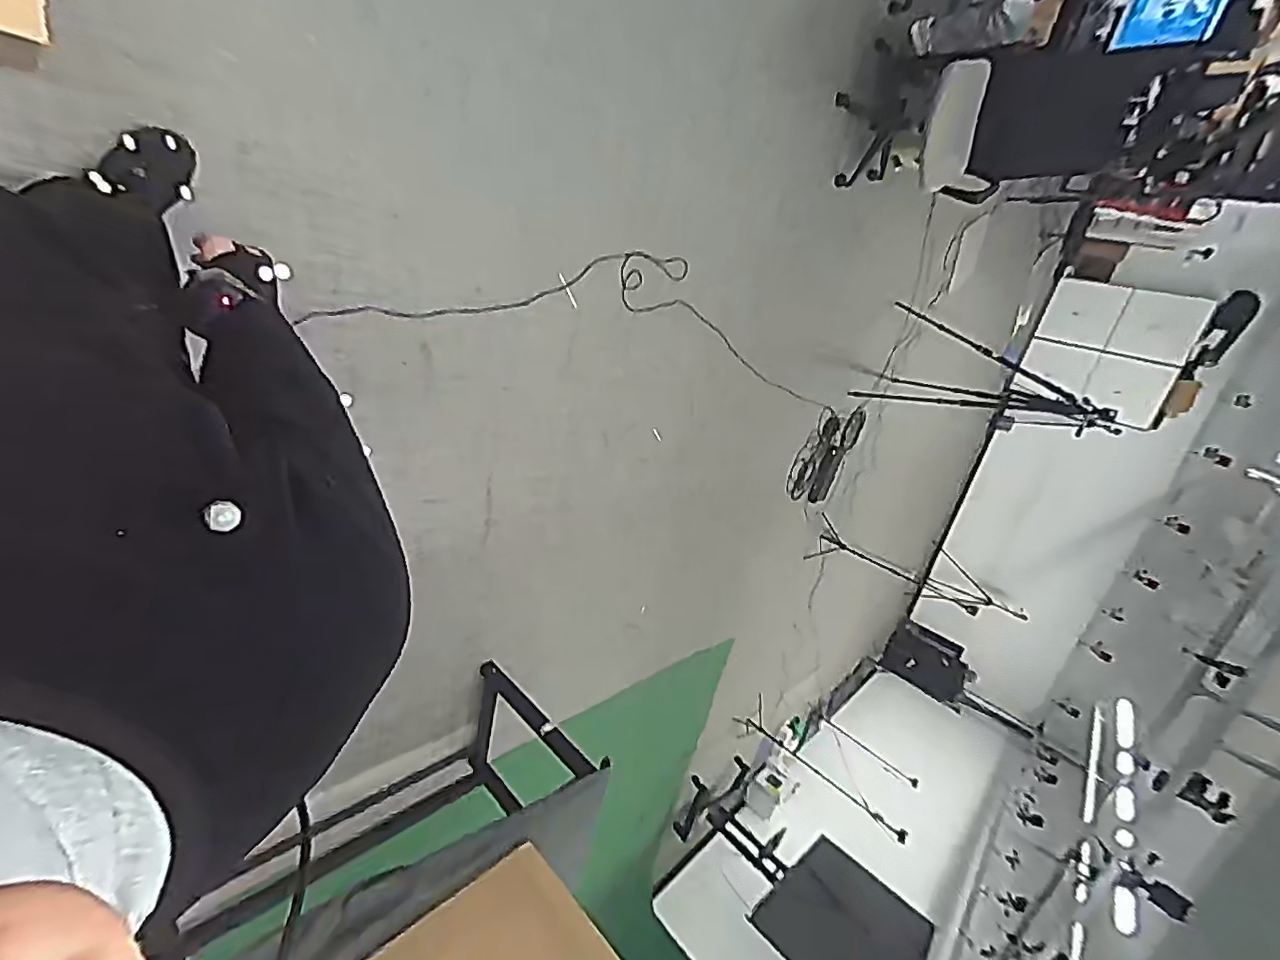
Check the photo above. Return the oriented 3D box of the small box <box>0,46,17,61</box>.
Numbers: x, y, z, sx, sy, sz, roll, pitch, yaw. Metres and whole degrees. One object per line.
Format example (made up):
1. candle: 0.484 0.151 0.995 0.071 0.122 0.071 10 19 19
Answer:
1. small box: -0.930 -0.665 0.680 0.168 0.176 0.179 -12 122 -46

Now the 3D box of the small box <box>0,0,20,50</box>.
1. small box: -0.813 -0.601 0.584 0.179 0.176 0.168 -9 119 -47
